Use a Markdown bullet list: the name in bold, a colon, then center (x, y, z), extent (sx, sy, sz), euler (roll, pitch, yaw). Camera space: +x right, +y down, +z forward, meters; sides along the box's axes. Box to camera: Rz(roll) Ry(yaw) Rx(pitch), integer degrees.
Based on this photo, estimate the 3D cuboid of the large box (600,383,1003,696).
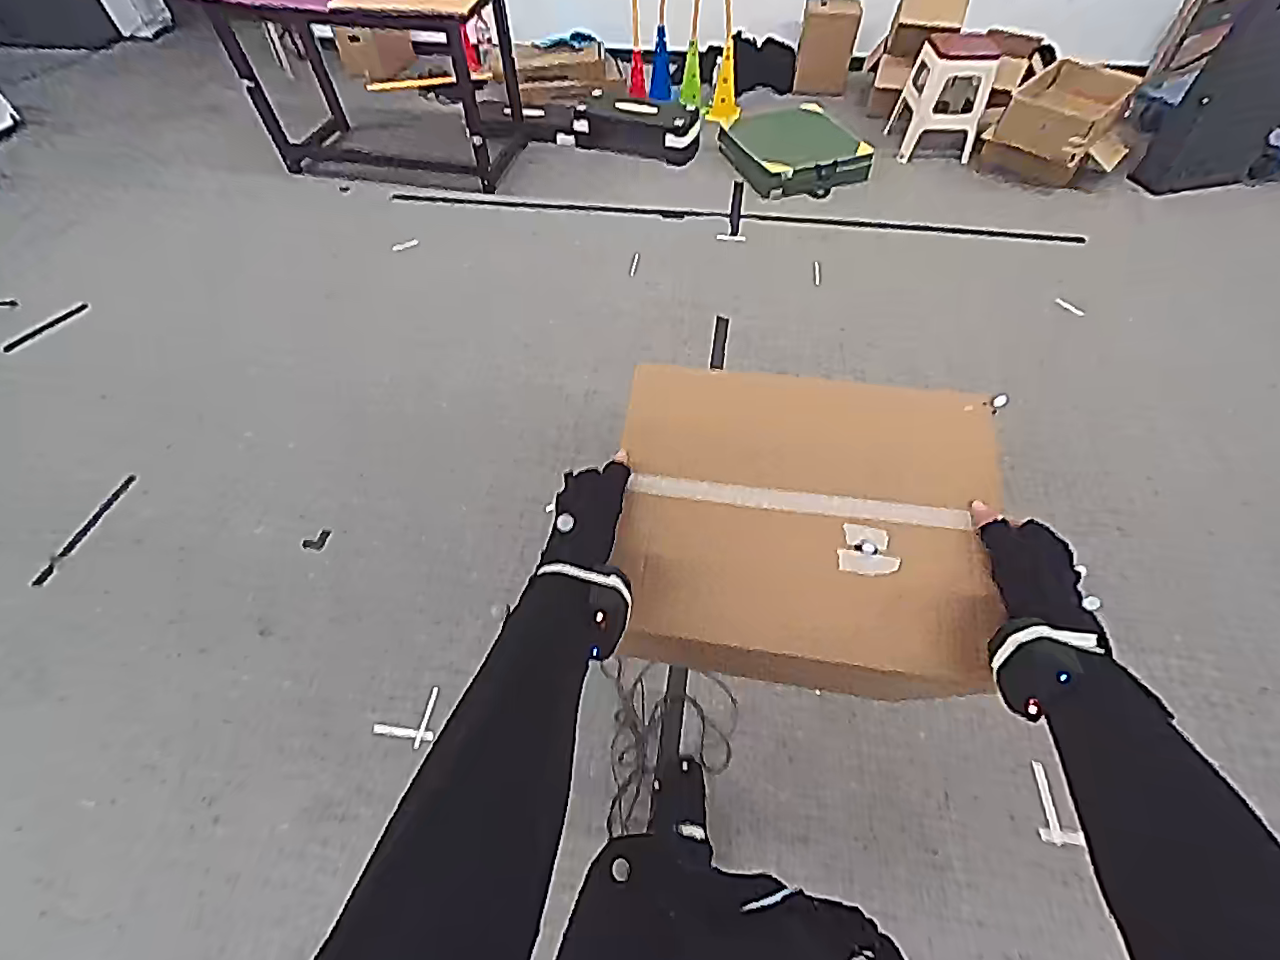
- **large box**: center (0.180, 0.096, 0.731), extent (0.408, 0.320, 0.320), euler (7, 67, 7)
